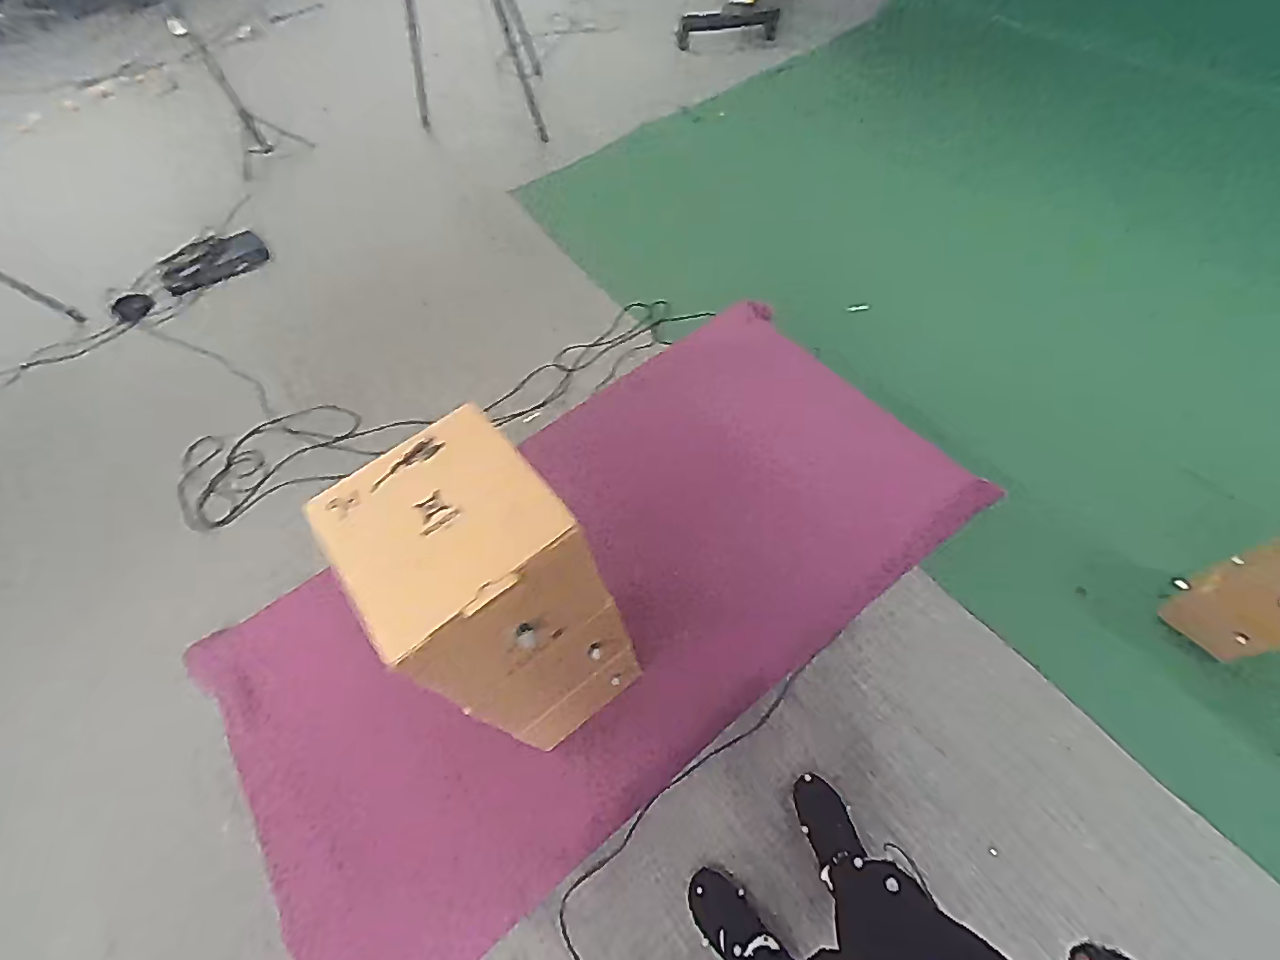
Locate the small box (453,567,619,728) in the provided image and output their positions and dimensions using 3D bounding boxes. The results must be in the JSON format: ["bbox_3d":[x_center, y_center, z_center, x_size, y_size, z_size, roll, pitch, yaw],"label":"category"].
[{"bbox_3d":[-0.138,0.161,0.635,0.179,0.176,0.168,-35,61,-15],"label":"small box"}]

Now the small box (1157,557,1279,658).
[{"bbox_3d":[1.507,0.334,1.382,0.168,0.176,0.179,-34,61,-14],"label":"small box"}]

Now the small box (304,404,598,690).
[{"bbox_3d":[-0.158,0.071,0.500,0.168,0.176,0.179,-36,61,-16],"label":"small box"}]

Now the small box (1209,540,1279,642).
[{"bbox_3d":[1.498,0.254,1.242,0.168,0.176,0.179,-37,60,-15],"label":"small box"}]
